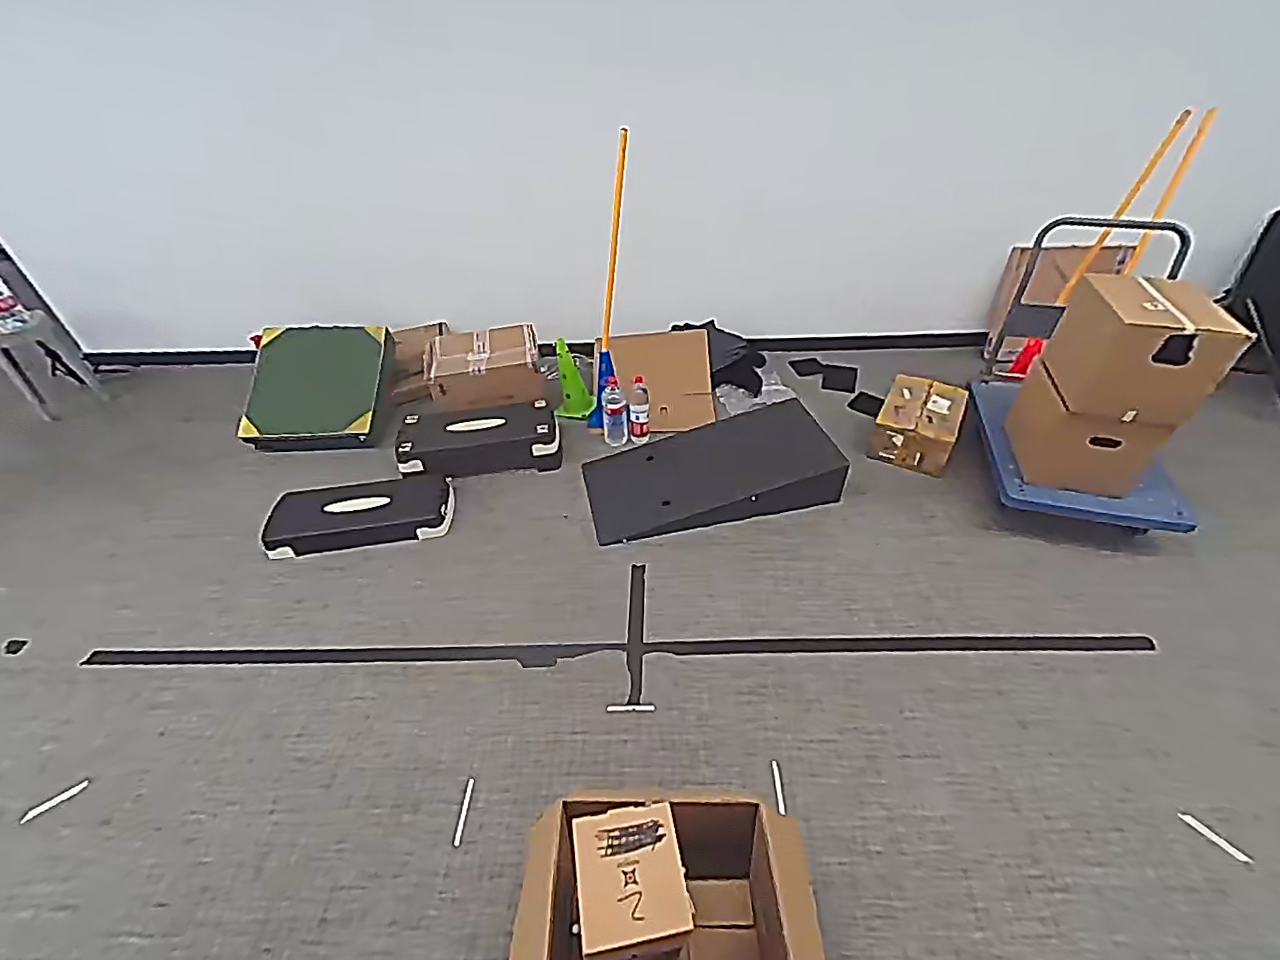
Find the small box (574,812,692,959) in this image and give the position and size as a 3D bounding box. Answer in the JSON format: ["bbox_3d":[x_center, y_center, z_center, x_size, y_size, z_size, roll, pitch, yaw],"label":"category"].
[{"bbox_3d":[-0.017,0.773,1.023,0.179,0.176,0.168,-12,44,-16],"label":"small box"}]
